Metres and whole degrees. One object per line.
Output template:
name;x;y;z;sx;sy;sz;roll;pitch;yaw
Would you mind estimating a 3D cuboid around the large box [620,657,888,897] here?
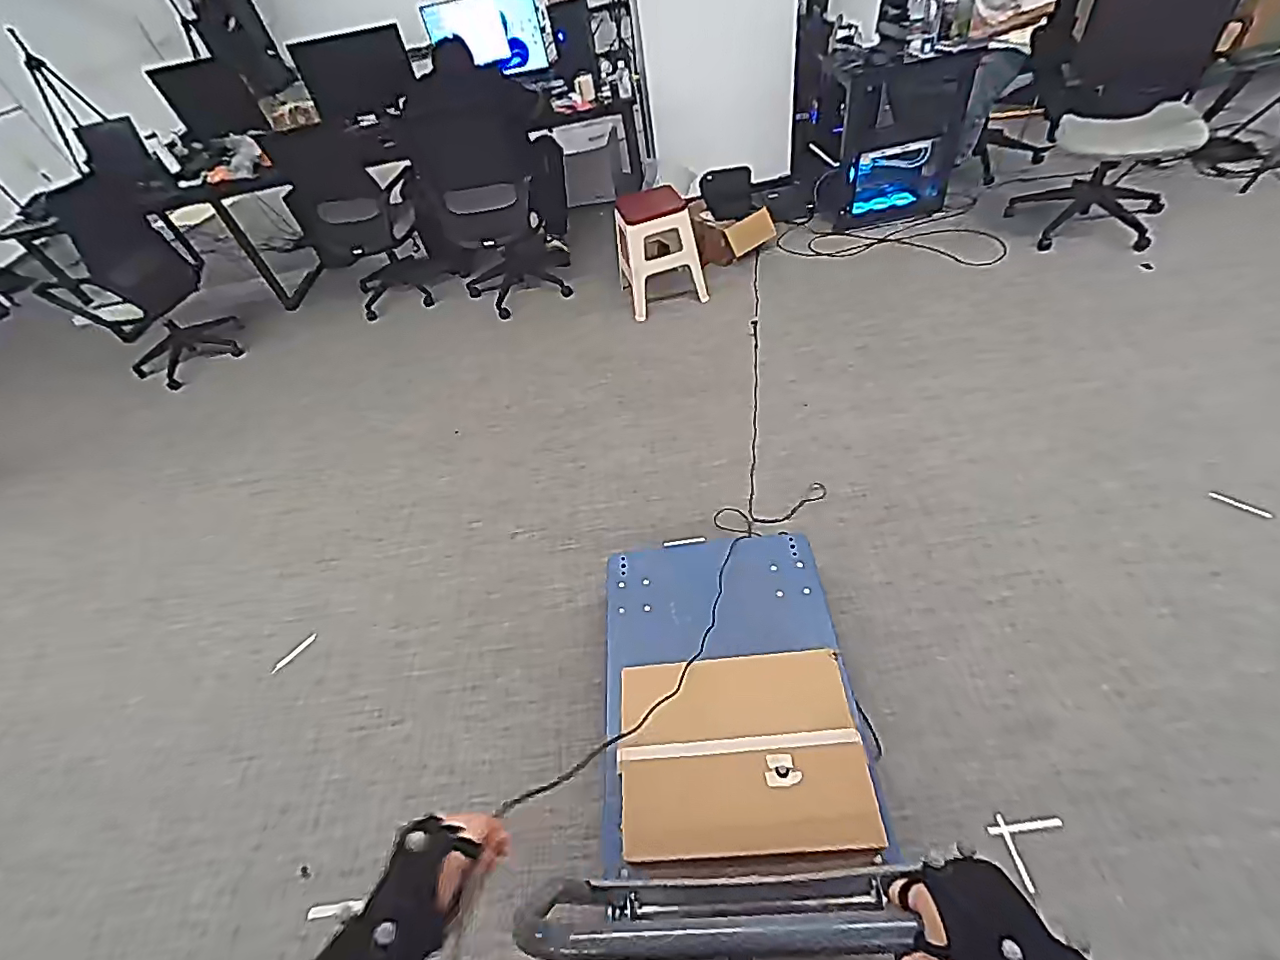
large box;0.186;0.563;1.017;0.408;0.320;0.320;-7;48;5
